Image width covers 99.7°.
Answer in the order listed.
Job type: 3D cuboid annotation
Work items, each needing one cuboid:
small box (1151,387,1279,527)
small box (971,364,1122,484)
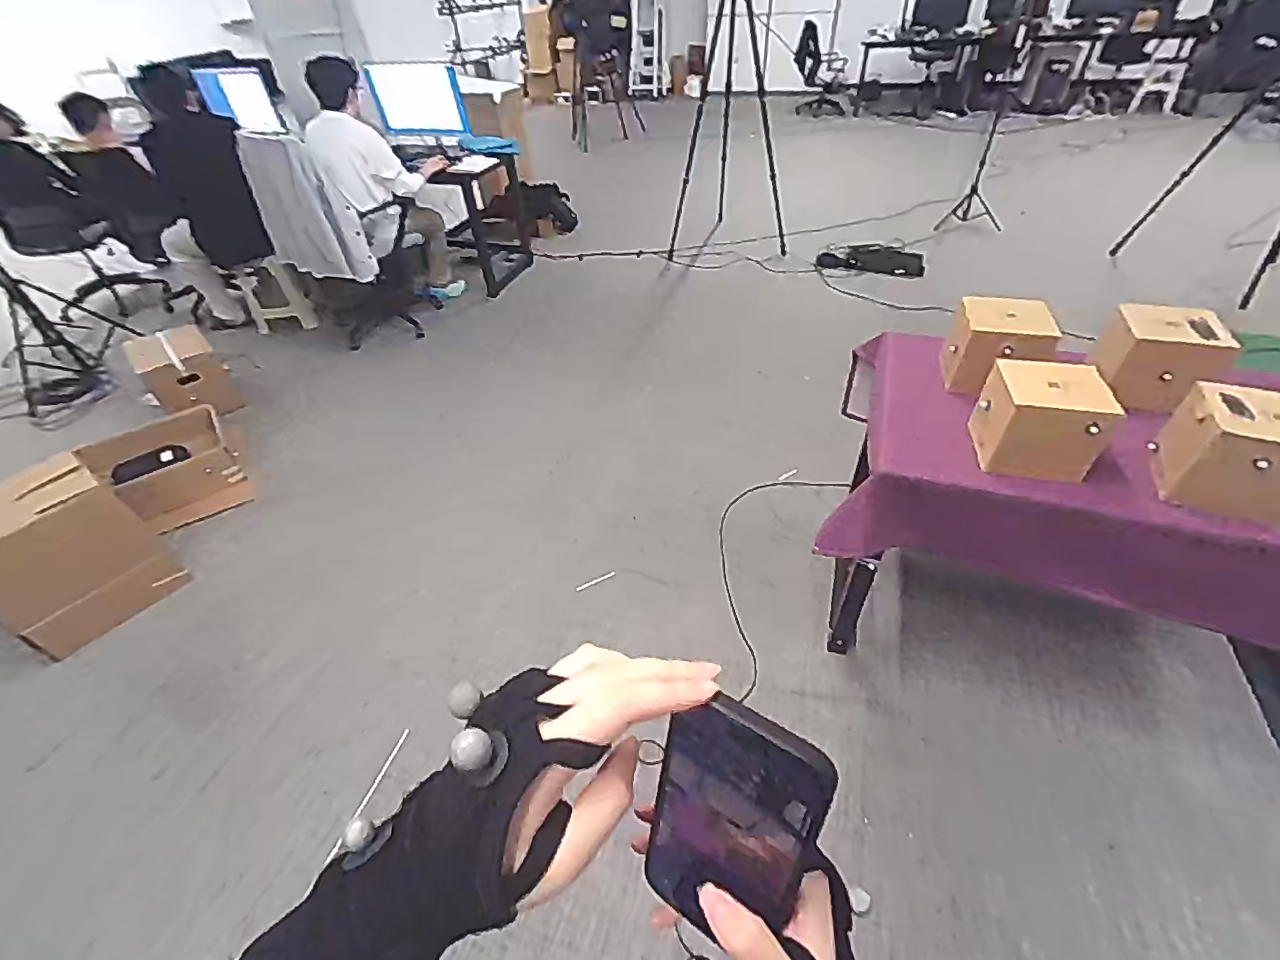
[{"bbox_3d":[1.074,-0.041,0.973,0.179,0.176,0.168,17,47,20],"label":"small box"},{"bbox_3d":[0.785,-0.110,1.072,0.179,0.176,0.168,8,44,11],"label":"small box"}]
